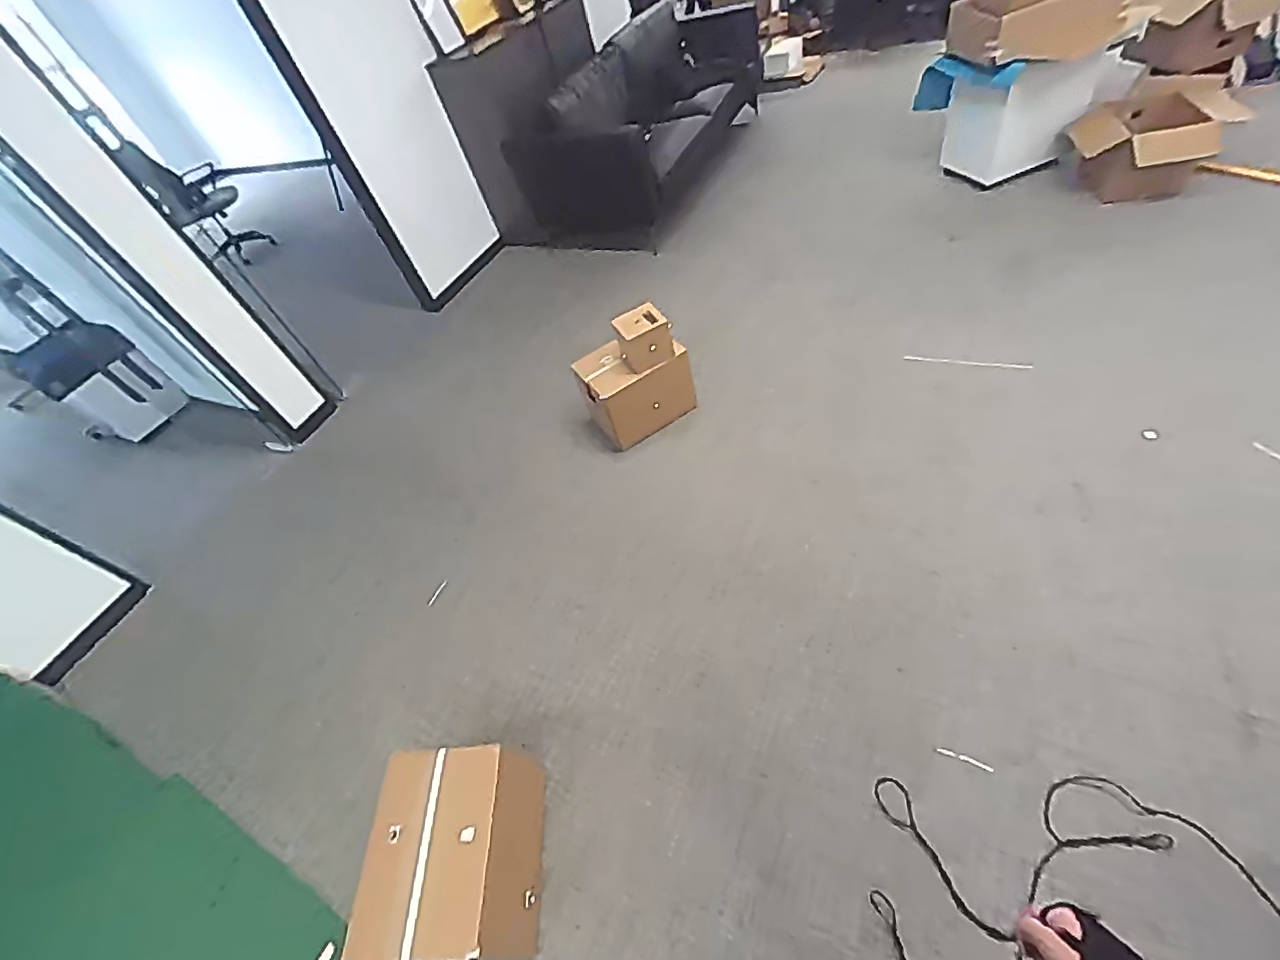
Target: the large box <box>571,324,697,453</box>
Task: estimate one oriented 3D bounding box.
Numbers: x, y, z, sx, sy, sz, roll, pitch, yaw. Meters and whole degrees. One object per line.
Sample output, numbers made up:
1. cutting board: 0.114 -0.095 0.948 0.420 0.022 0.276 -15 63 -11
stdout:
1. large box: -0.018 -0.395 2.331 0.408 0.320 0.320 -33 48 -11
